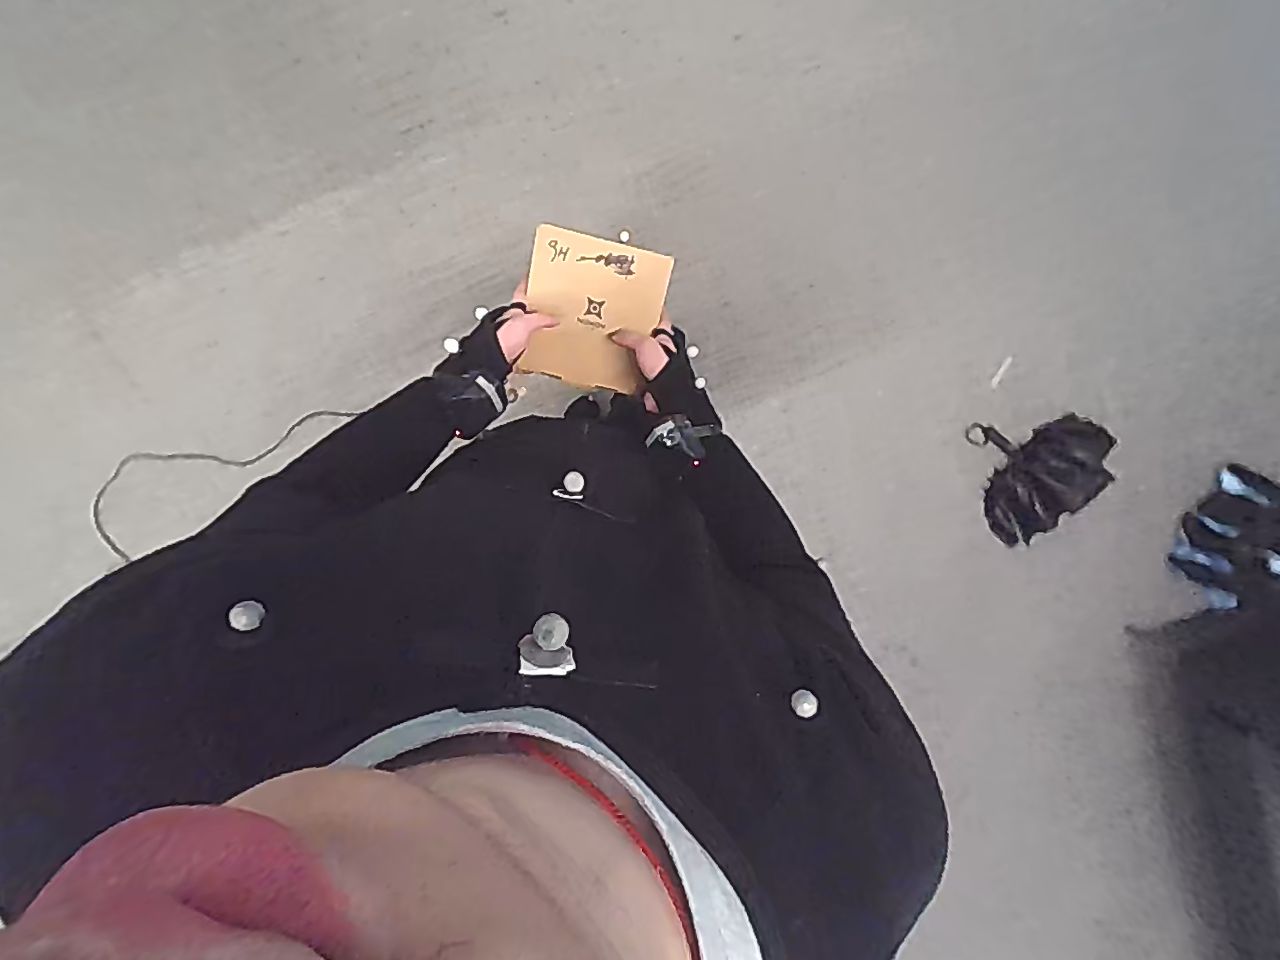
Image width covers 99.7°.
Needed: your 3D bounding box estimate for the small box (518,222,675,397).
[{"bbox_3d":[-0.057,-0.232,0.726,0.168,0.176,0.179,11,114,-6],"label":"small box"}]
